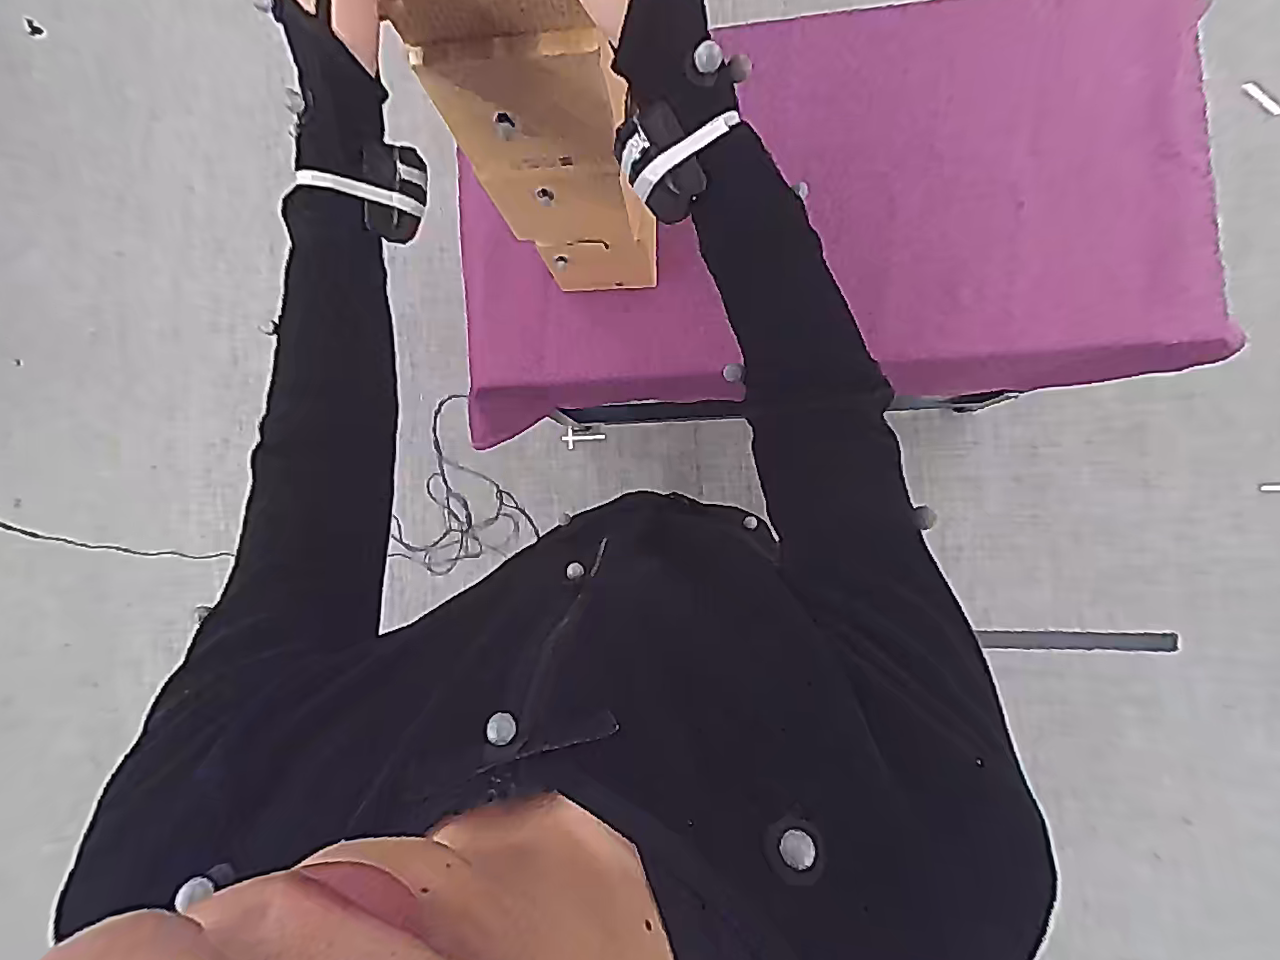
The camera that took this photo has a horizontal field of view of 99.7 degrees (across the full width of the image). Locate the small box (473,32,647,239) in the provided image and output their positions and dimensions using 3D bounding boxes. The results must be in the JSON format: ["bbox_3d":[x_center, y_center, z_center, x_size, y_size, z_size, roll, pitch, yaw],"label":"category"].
[{"bbox_3d":[-0.091,-0.431,0.698,0.179,0.176,0.168,6,88,6],"label":"small box"}]

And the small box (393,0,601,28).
[{"bbox_3d":[-0.120,-0.460,0.373,0.179,0.176,0.168,-1,86,4],"label":"small box"}]

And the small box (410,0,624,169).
[{"bbox_3d":[-0.106,-0.435,0.536,0.168,0.176,0.179,0,86,5],"label":"small box"}]
